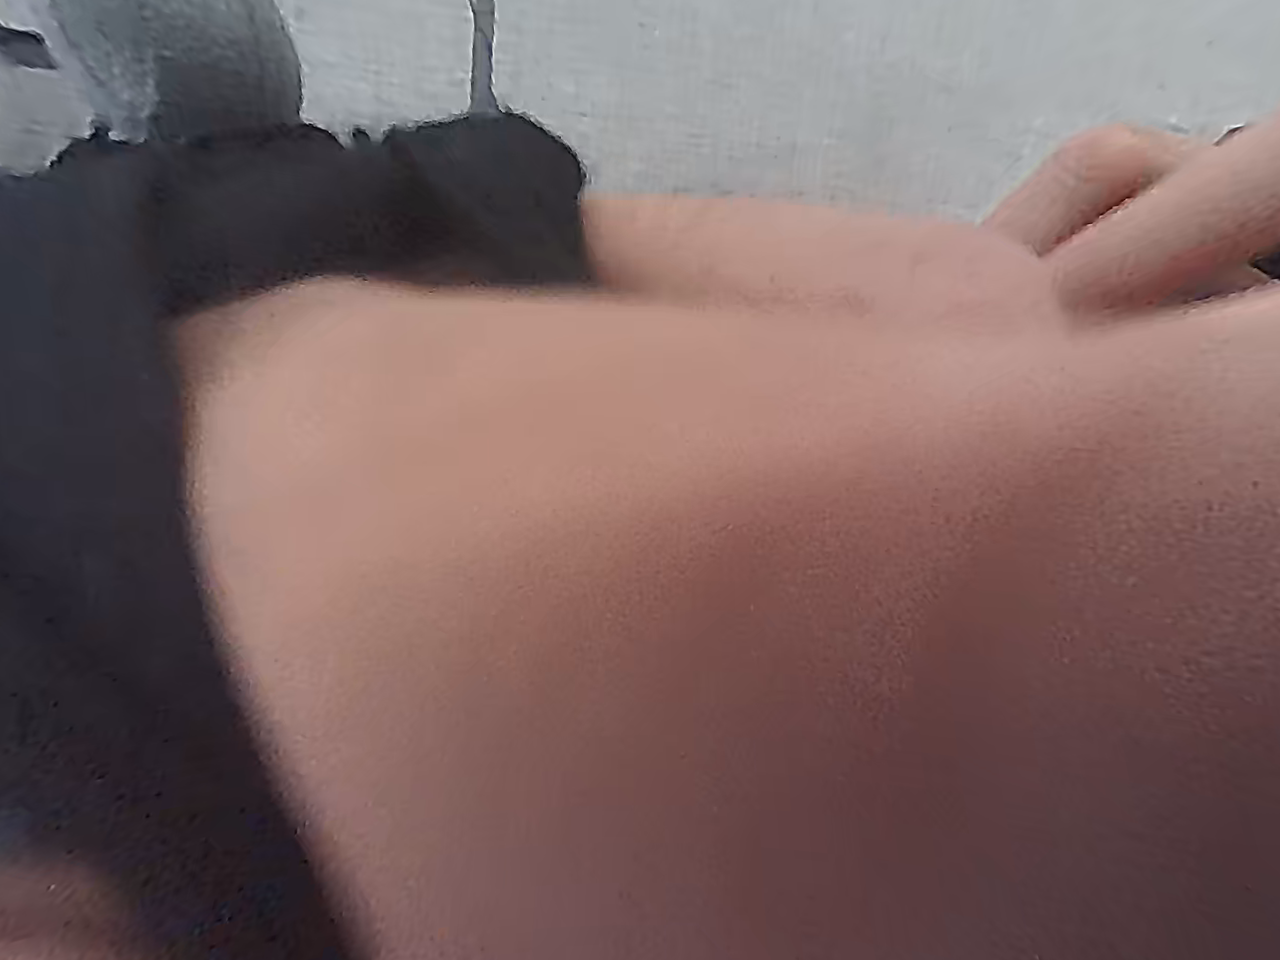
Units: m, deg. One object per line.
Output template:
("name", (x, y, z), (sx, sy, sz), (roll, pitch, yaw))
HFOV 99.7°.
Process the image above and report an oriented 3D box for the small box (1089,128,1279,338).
("small box", (0.675, -0.261, 0.617), (0.179, 0.176, 0.168), (8, 100, -7))
